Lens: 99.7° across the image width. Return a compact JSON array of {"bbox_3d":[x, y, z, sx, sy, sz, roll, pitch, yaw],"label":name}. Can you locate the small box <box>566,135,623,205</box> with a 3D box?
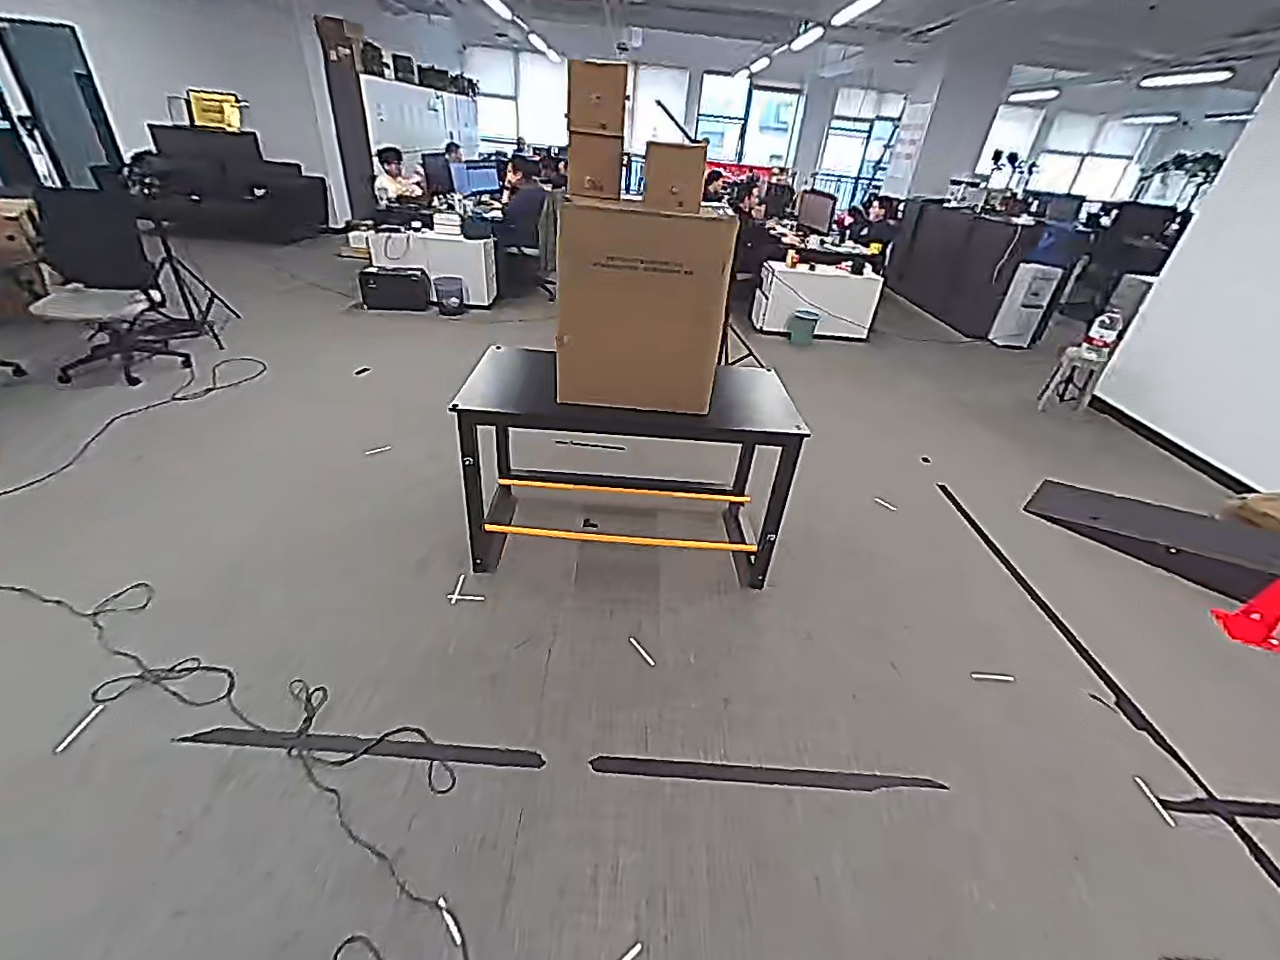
[{"bbox_3d":[-0.143,-0.966,1.684,0.168,0.176,0.179,1,33,-6],"label":"small box"}]

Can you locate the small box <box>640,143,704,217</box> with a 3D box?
[{"bbox_3d":[0.088,-0.880,1.582,0.168,0.176,0.179,2,33,-3],"label":"small box"}]

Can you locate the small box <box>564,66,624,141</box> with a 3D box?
[{"bbox_3d":[-0.132,-1.096,1.584,0.168,0.176,0.179,3,32,-5],"label":"small box"}]
